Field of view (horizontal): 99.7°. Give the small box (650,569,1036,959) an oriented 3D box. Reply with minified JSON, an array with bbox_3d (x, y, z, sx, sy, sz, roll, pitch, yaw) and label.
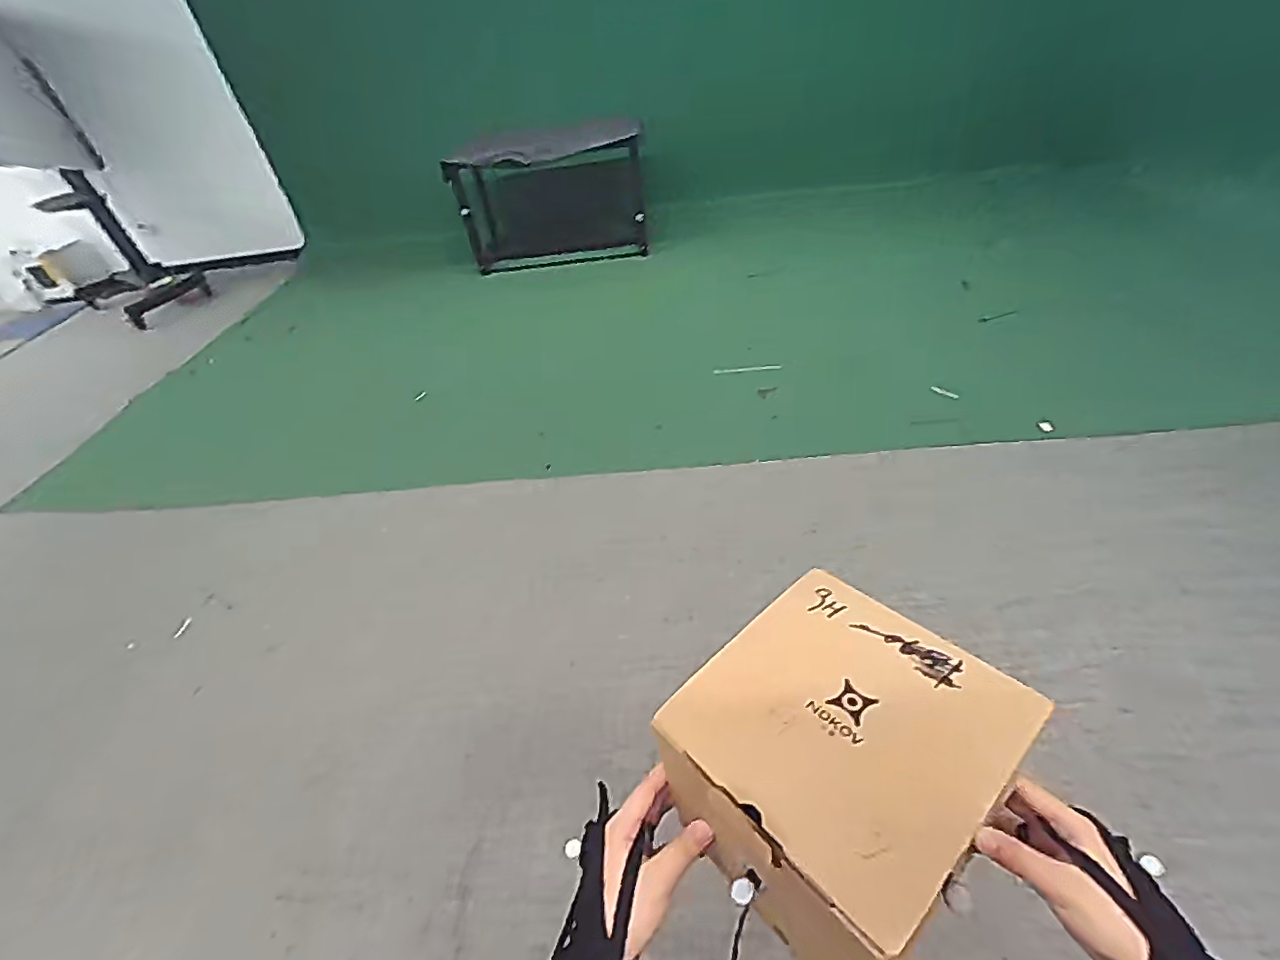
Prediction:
[{"bbox_3d":[0.135,0.205,0.384,0.179,0.176,0.168,-34,42,-26],"label":"small box"}]
